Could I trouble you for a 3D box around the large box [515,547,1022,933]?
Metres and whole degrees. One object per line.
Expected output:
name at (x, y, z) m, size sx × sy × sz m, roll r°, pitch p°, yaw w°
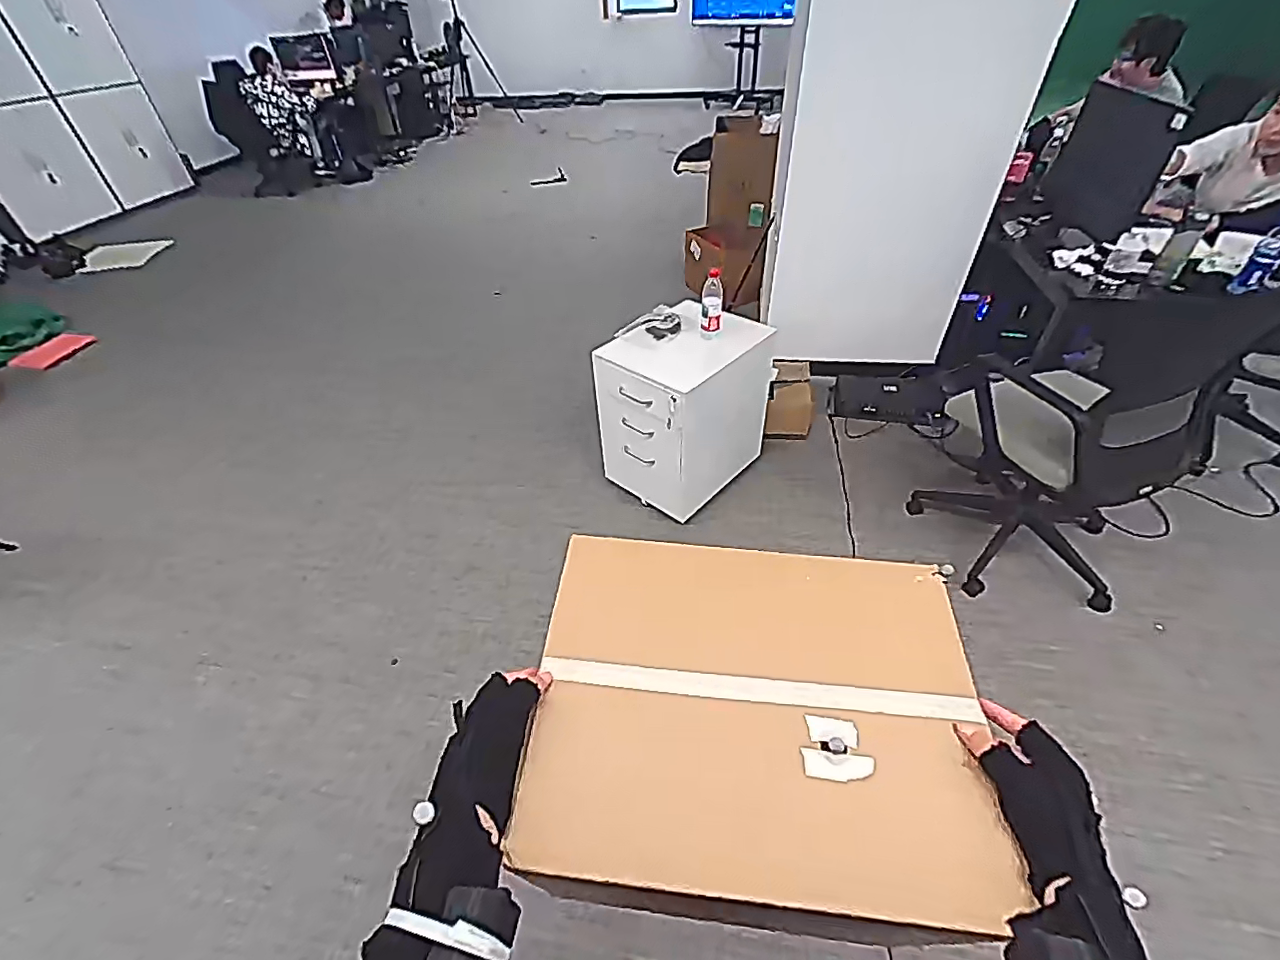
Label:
large box at (0.109, 0.302, 0.630) m, size 0.408 × 0.320 × 0.320 m, roll 4°, pitch 50°, yaw 5°
